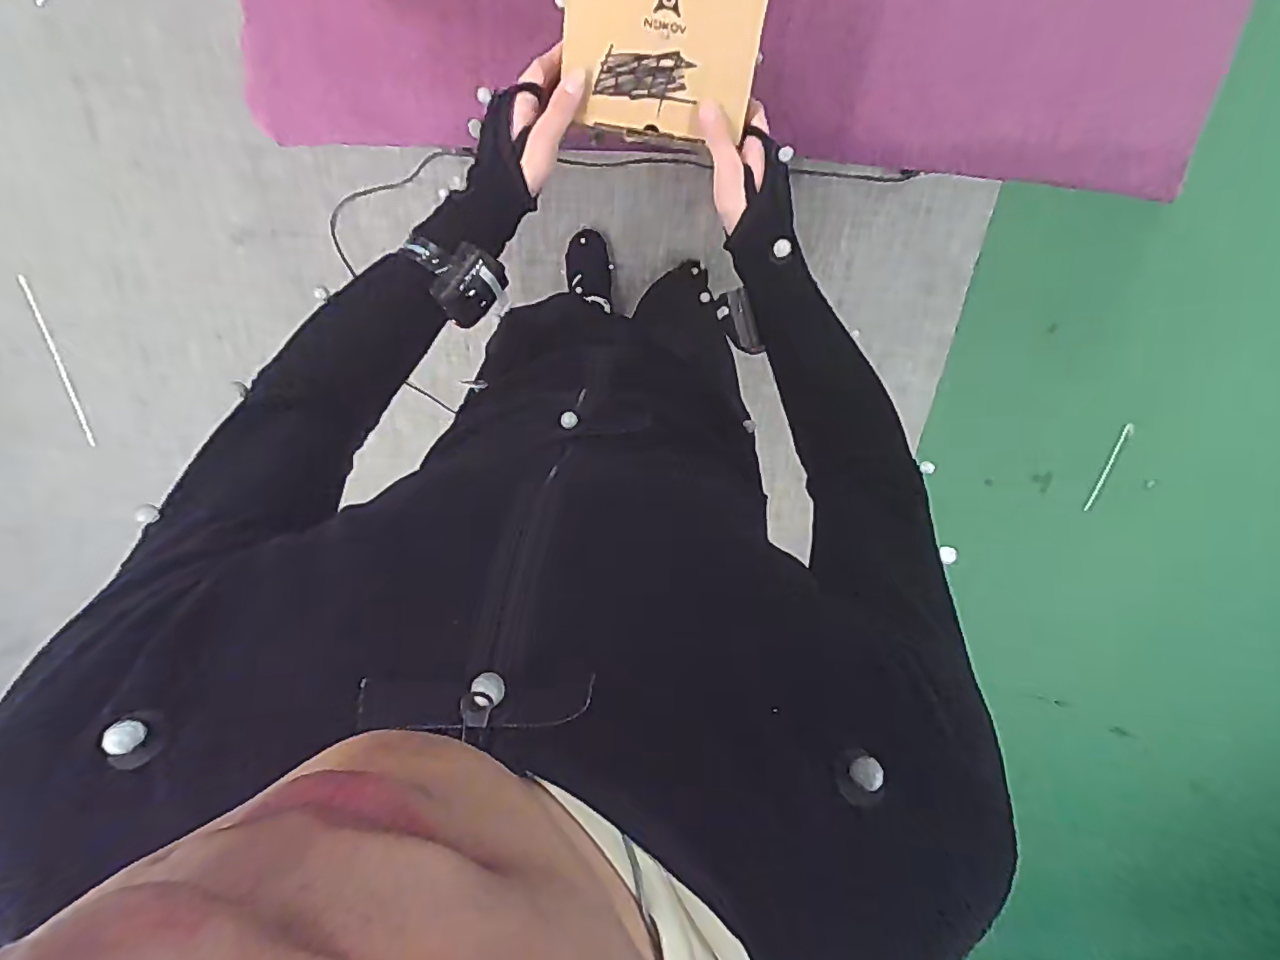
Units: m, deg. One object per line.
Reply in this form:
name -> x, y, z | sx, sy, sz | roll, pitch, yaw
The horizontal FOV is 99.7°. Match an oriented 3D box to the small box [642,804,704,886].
small box -> 0.101, 1.176, 1.743 | 0.179, 0.176, 0.168 | 3, 115, -2

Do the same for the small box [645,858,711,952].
small box -> 0.106, 1.247, 1.594 | 0.179, 0.176, 0.168 | 1, 115, -2

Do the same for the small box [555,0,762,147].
small box -> 0.015, -0.427, 0.509 | 0.168, 0.176, 0.179 | 5, 119, -6
